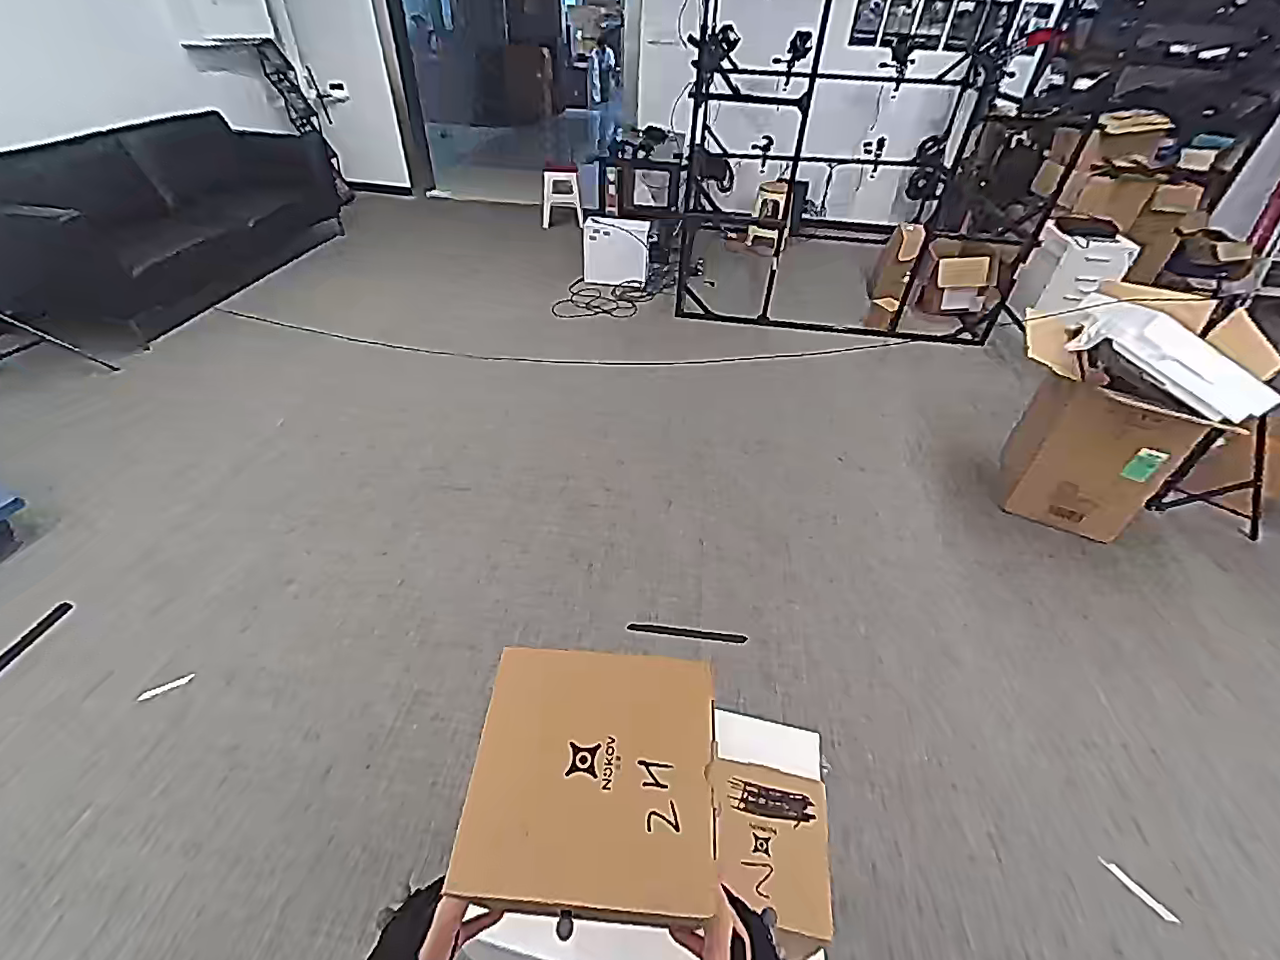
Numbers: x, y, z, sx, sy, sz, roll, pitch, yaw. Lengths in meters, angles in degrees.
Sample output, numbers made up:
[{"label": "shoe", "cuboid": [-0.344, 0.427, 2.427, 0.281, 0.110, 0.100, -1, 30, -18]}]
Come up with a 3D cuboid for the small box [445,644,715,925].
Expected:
[{"label": "small box", "cuboid": [-0.032, 0.255, 0.451, 0.179, 0.176, 0.168, 4, 49, 3]}]
